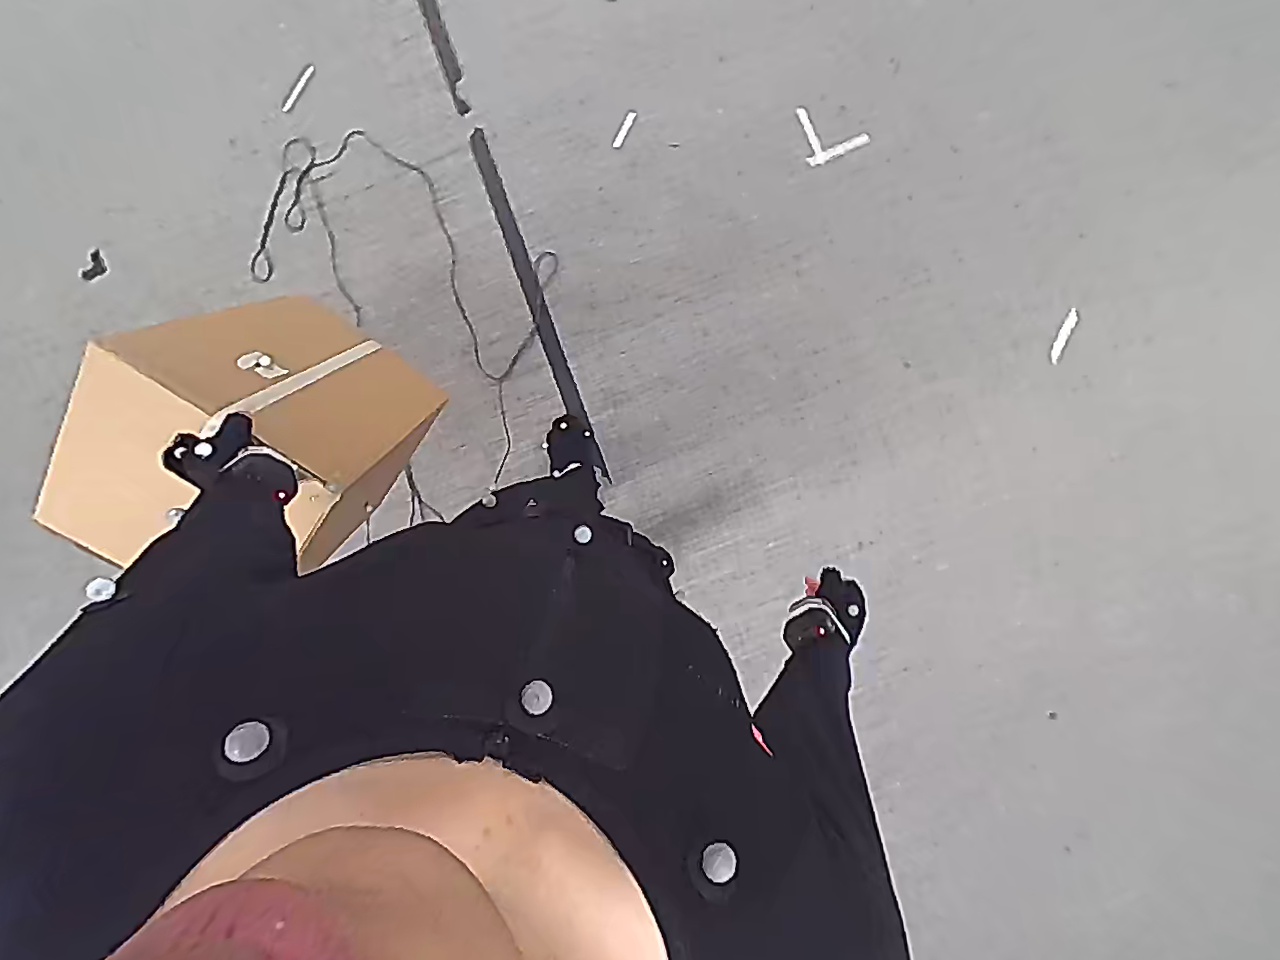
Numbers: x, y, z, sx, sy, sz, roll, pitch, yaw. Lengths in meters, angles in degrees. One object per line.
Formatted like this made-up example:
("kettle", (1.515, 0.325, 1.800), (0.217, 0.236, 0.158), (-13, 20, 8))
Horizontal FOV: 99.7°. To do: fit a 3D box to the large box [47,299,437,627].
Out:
("large box", (-0.609, -0.048, 0.901), (0.320, 0.408, 0.320), (34, 114, -15))
